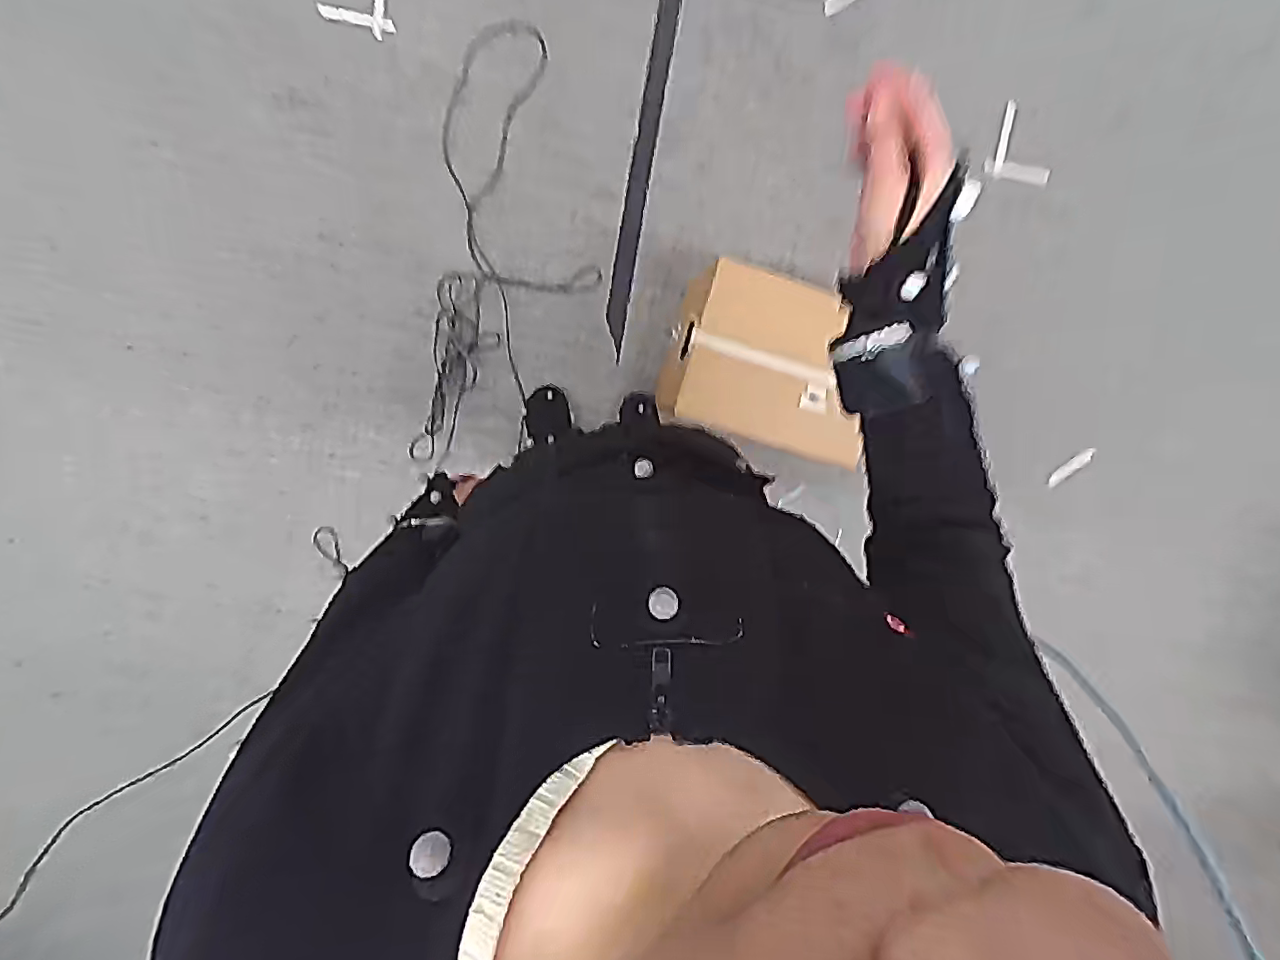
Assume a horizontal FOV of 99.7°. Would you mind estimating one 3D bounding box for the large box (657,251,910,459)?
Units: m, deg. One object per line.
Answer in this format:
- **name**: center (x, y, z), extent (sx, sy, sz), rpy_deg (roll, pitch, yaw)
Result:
- **large box**: center (0.283, -0.260, 1.194), extent (0.408, 0.320, 0.320), rpy_deg (15, 99, -10)
